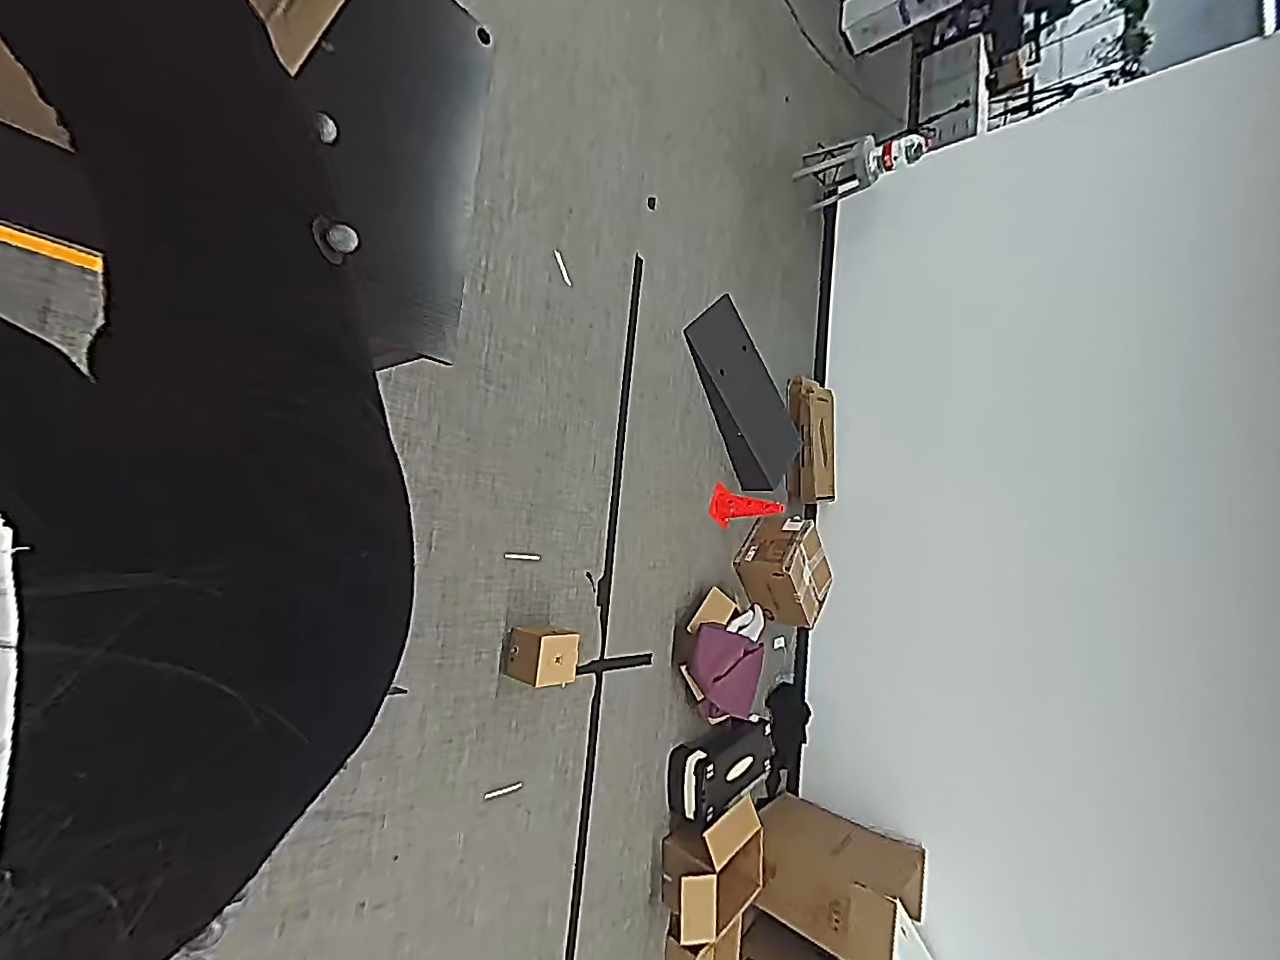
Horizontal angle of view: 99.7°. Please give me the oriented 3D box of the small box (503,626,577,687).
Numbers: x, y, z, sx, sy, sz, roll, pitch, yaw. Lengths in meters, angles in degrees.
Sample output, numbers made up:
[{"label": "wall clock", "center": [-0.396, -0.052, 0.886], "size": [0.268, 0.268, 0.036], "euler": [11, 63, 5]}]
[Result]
[{"label": "small box", "center": [-0.345, 0.603, 1.872], "size": [0.179, 0.176, 0.168], "euler": [13, 80, -48]}]
